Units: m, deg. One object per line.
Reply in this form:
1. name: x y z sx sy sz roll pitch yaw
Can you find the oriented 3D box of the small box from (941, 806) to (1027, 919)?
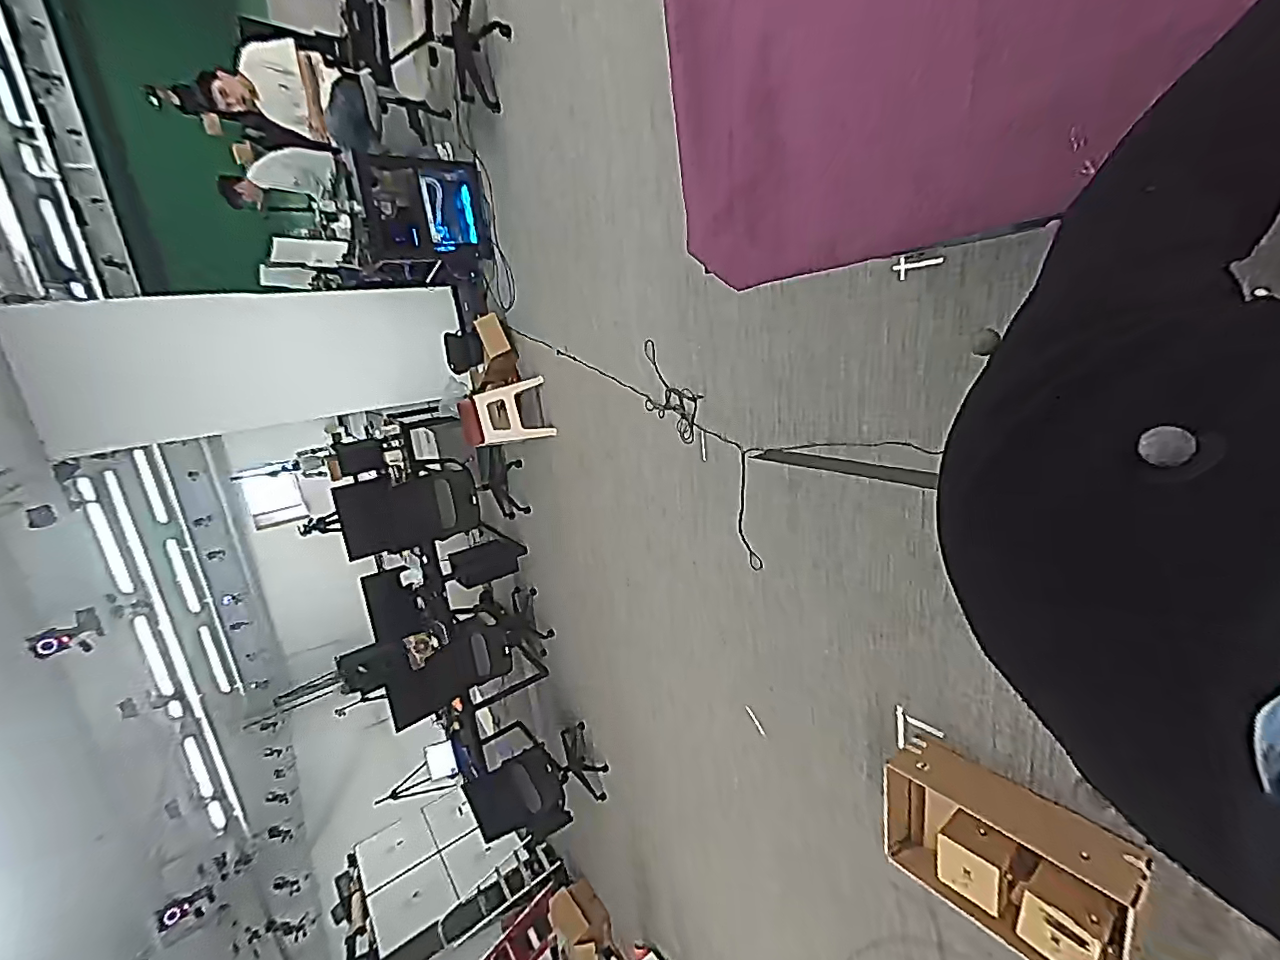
1. small box: 1.016 1.117 1.597 0.168 0.176 0.179 12 114 54
